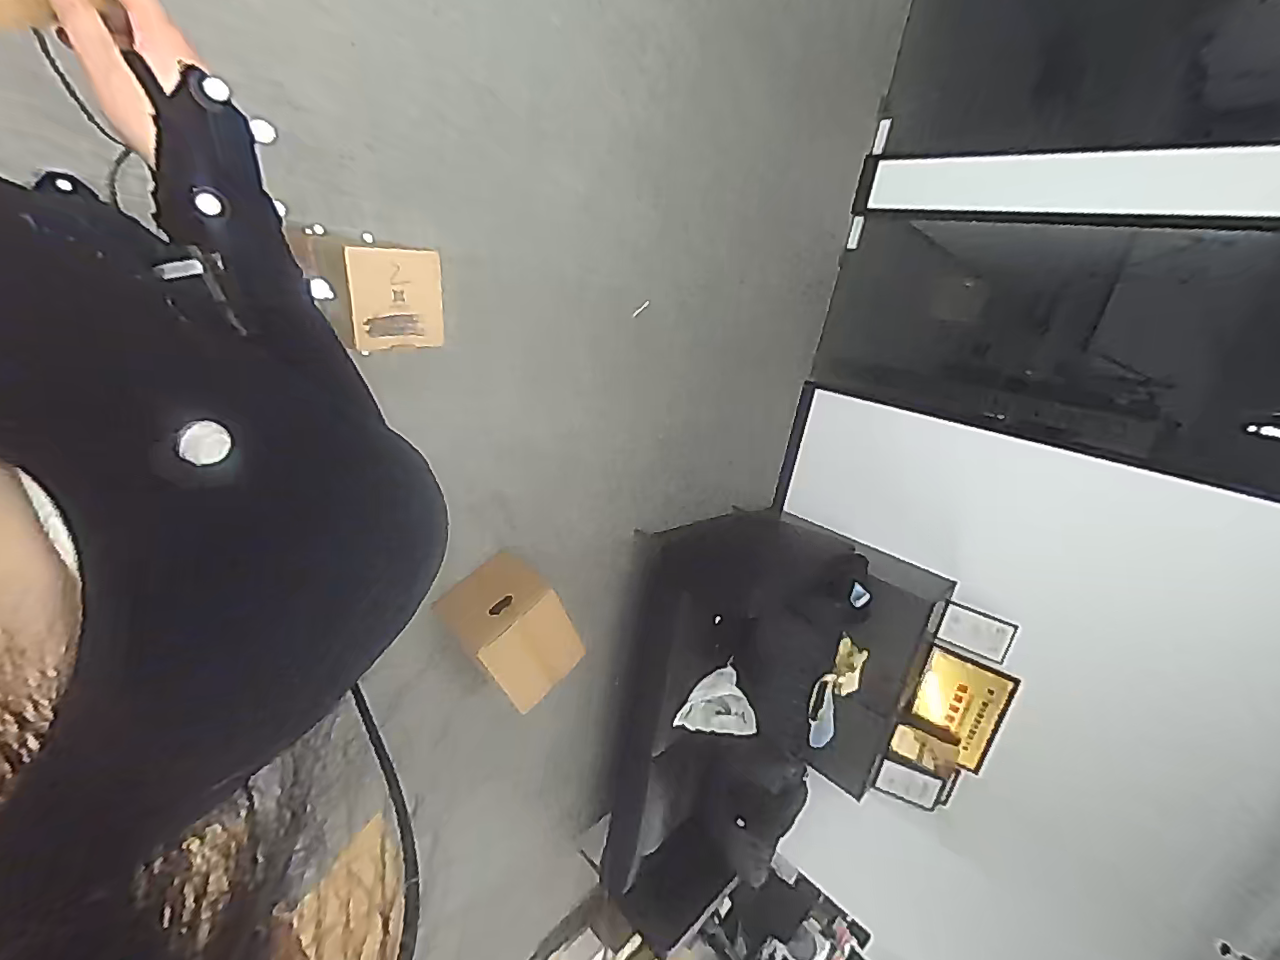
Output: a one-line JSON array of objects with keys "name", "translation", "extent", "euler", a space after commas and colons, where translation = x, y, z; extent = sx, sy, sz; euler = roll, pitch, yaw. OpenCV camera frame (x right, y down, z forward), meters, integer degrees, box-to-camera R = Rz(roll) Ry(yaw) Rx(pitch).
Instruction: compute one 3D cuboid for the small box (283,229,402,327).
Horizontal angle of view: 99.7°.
[{"name": "small box", "translation": [-0.617, -0.418, 1.120], "extent": [0.179, 0.176, 0.168], "euler": [-16, 123, -45]}]
